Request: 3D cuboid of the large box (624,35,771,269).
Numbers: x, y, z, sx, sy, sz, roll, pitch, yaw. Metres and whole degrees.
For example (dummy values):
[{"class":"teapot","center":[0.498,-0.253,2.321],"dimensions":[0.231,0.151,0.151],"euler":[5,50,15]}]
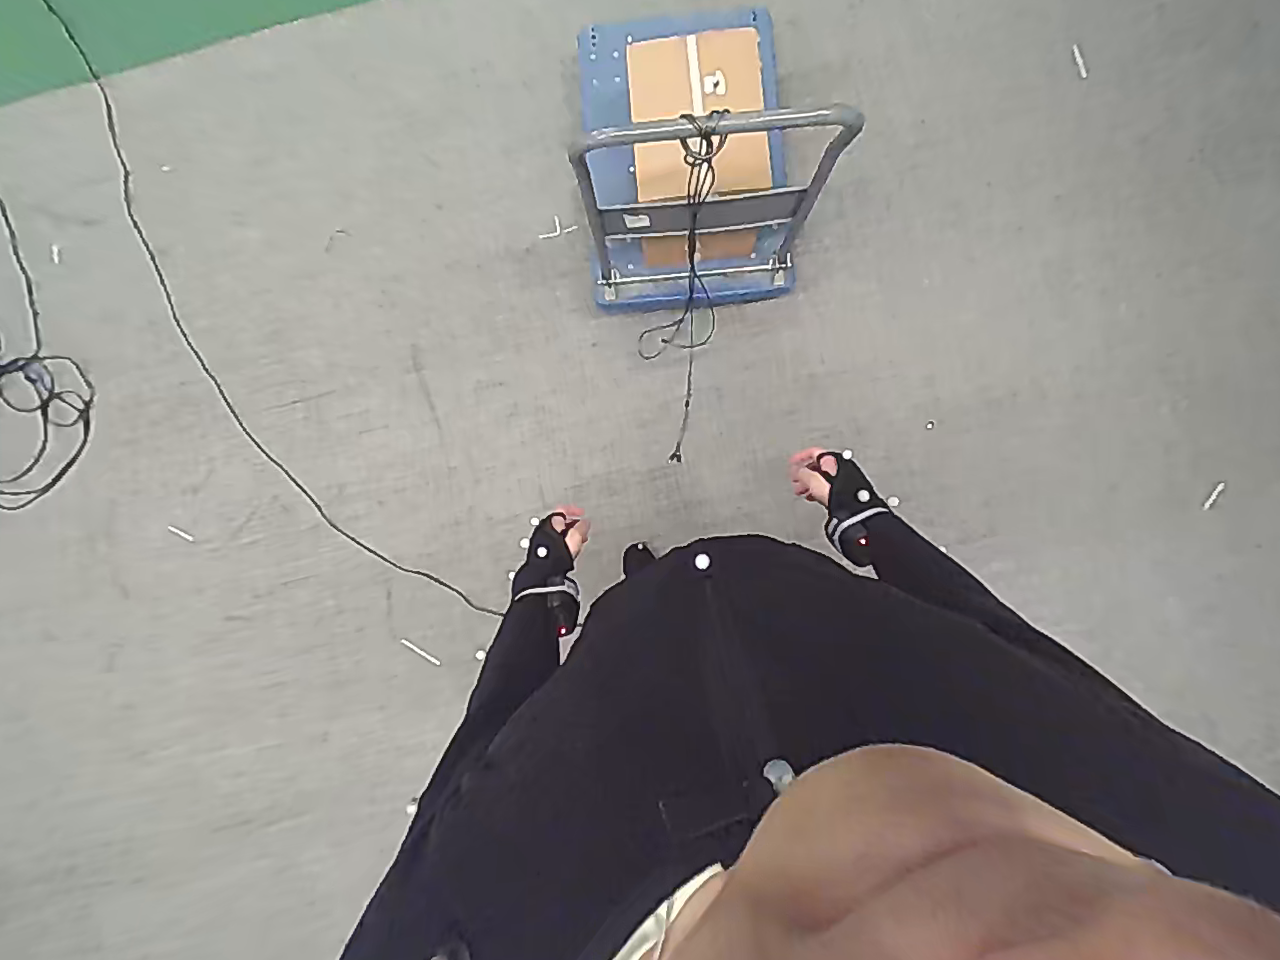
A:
[{"class":"large box","center":[0.142,-0.825,1.409],"dimensions":[0.320,0.320,0.408],"euler":[-5,84,3]}]
